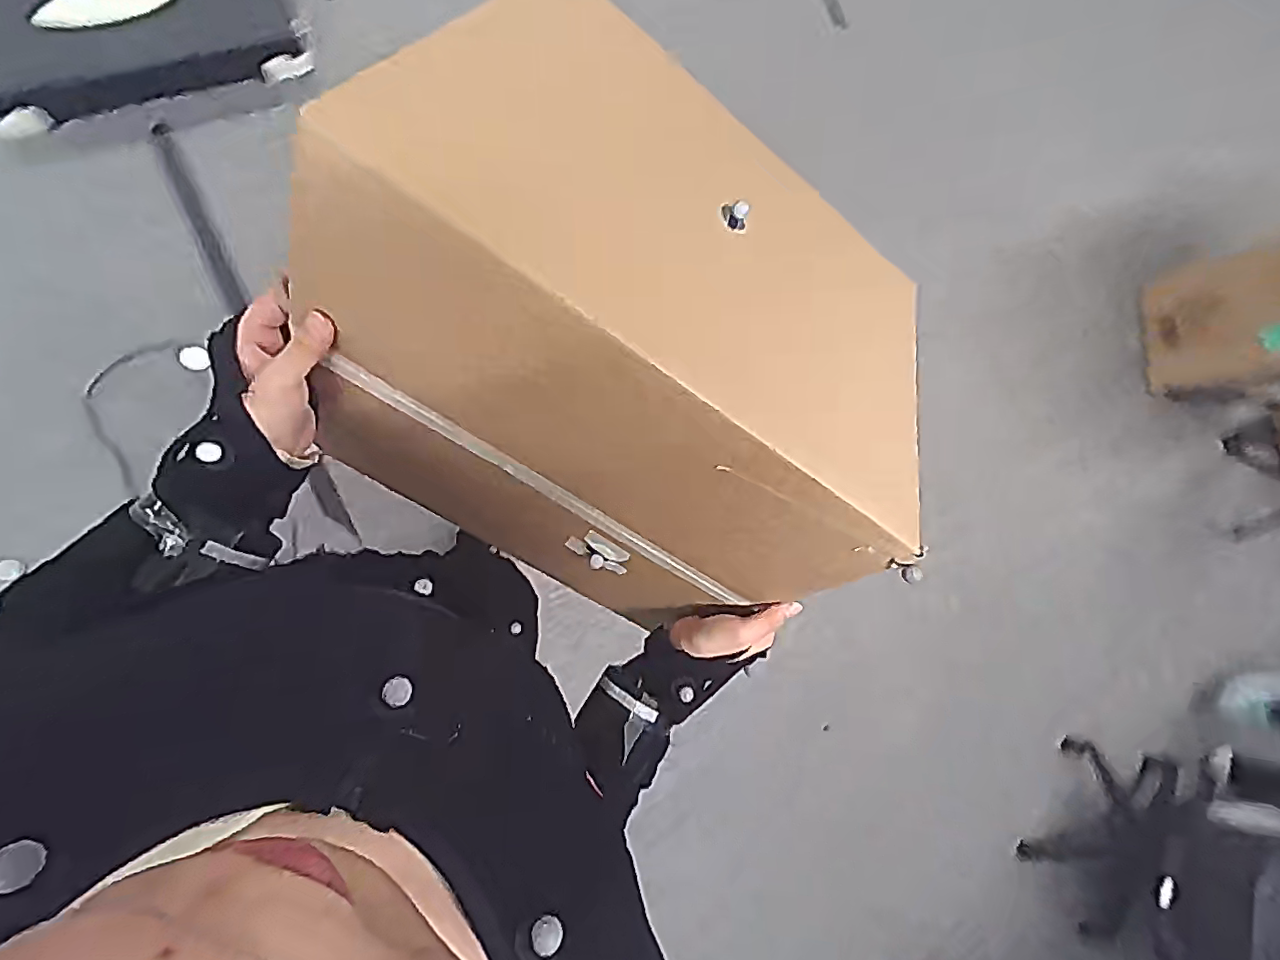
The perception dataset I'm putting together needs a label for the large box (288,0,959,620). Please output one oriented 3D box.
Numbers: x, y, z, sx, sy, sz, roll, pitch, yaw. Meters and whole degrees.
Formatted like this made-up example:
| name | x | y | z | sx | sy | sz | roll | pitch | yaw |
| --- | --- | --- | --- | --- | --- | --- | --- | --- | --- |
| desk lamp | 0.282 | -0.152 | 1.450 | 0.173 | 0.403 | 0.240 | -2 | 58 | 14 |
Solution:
| name | x | y | z | sx | sy | sz | roll | pitch | yaw |
| --- | --- | --- | --- | --- | --- | --- | --- | --- | --- |
| large box | -0.010 | -0.128 | 0.468 | 0.408 | 0.320 | 0.320 | 30 | 55 | -16 |
